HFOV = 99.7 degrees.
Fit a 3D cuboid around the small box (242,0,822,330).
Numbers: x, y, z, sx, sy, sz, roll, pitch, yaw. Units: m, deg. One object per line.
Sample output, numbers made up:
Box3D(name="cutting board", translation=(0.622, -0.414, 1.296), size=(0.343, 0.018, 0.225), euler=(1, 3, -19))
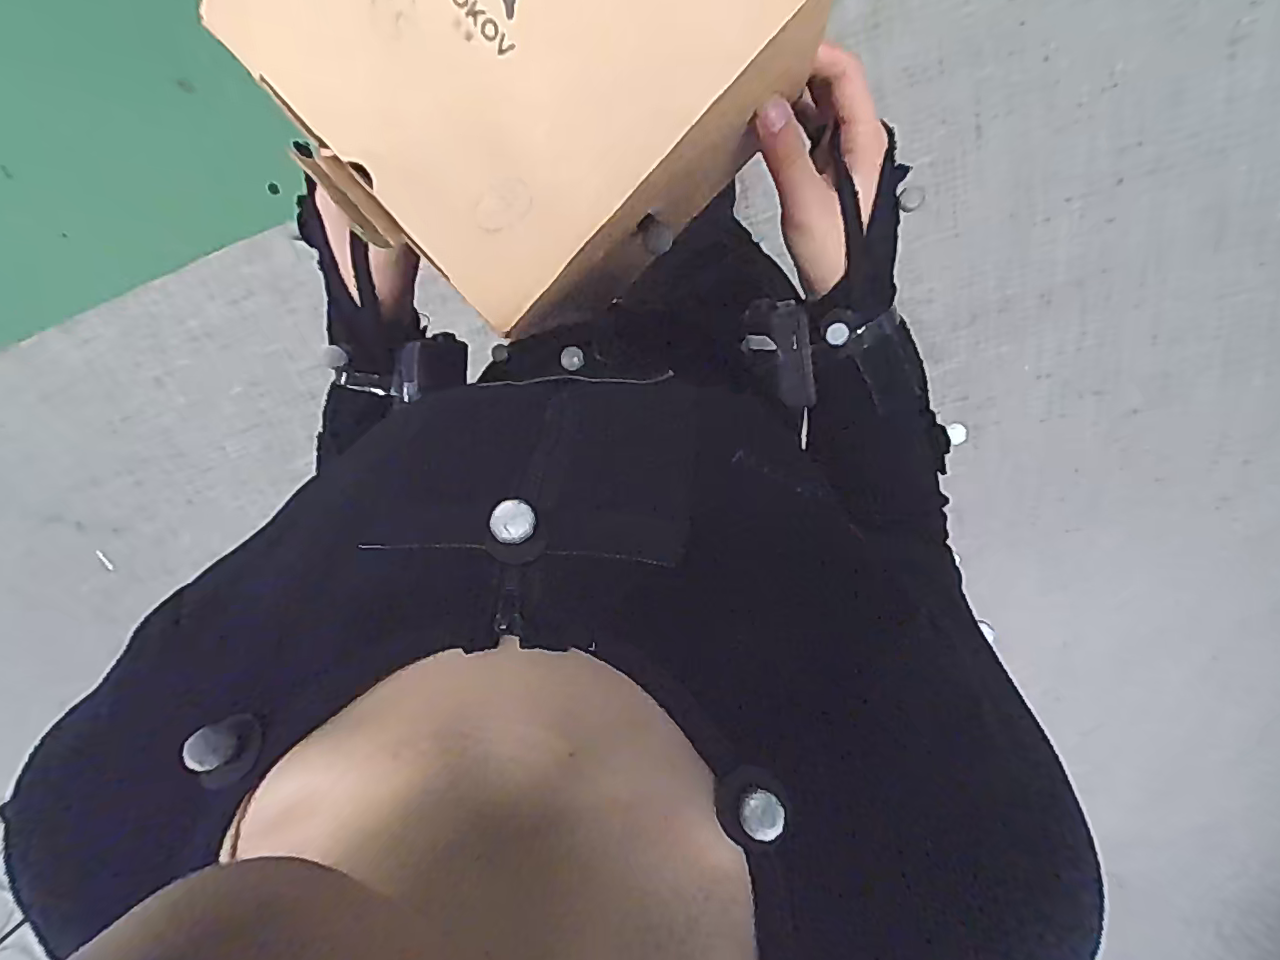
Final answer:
Box3D(name="small box", translation=(-0.035, -0.201, 0.275), size=(0.179, 0.176, 0.168), euler=(-41, 99, 21))
